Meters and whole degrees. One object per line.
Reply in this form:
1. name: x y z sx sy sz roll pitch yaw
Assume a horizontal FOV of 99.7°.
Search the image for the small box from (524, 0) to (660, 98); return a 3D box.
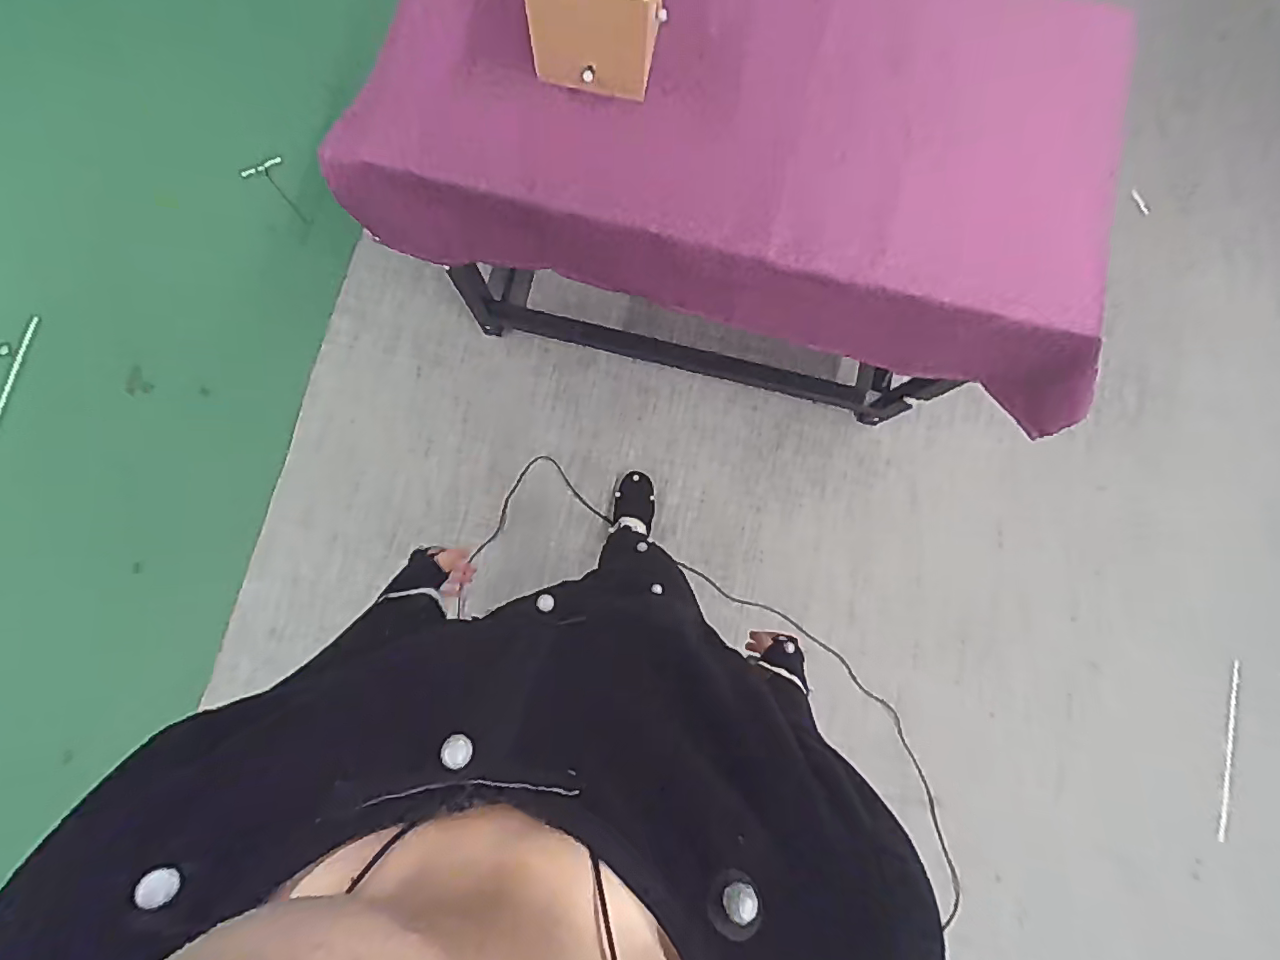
1. small box: -0.063 -0.716 0.803 0.179 0.176 0.168 11 83 -1
